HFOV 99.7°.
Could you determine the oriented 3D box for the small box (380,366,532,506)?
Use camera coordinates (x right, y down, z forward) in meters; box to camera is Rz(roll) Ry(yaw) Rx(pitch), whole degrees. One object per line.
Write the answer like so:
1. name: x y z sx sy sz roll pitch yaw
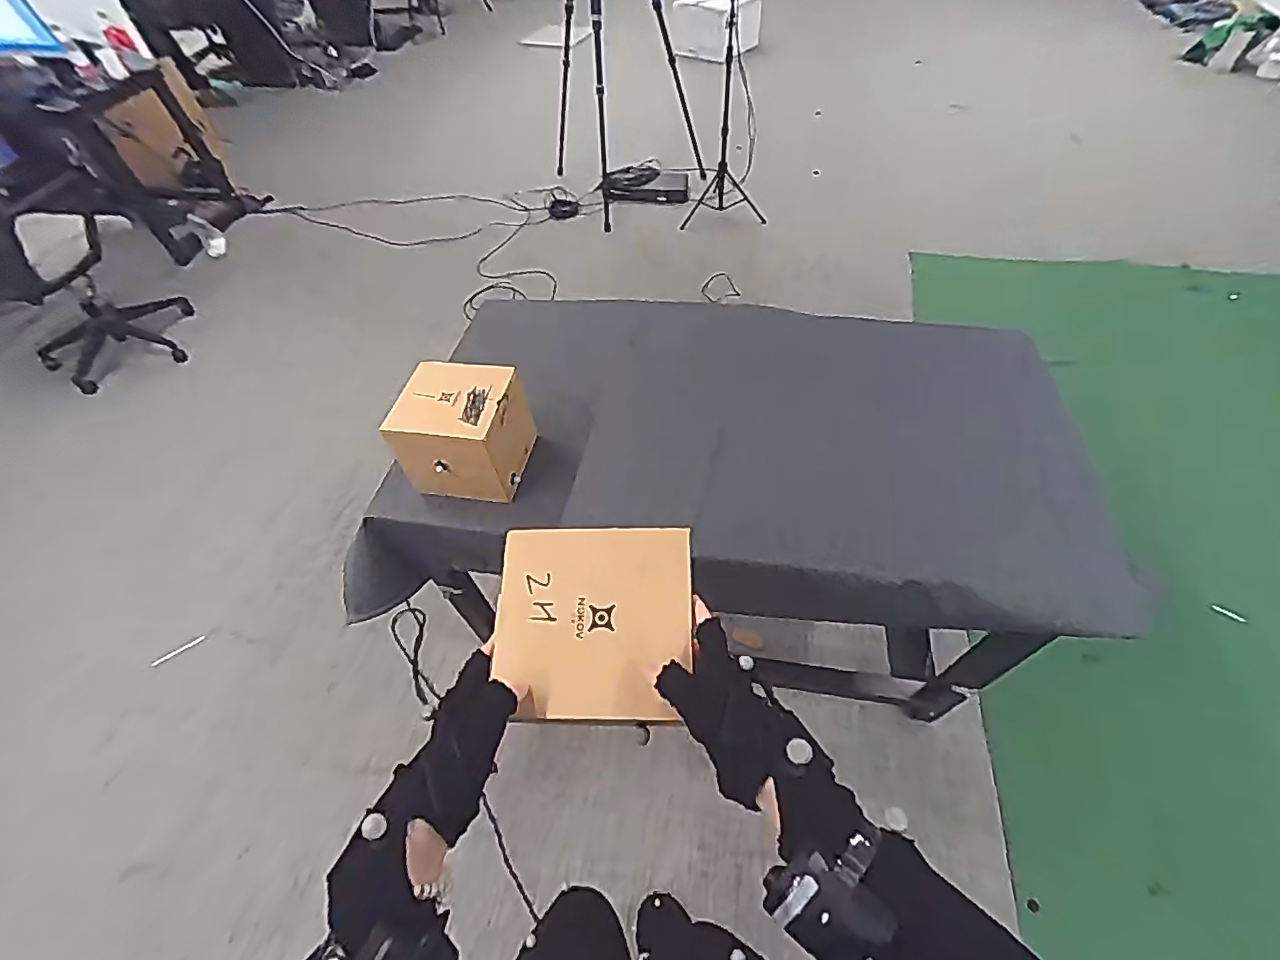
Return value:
1. small box: -0.299 -0.072 0.930 0.179 0.176 0.168 6 52 8
